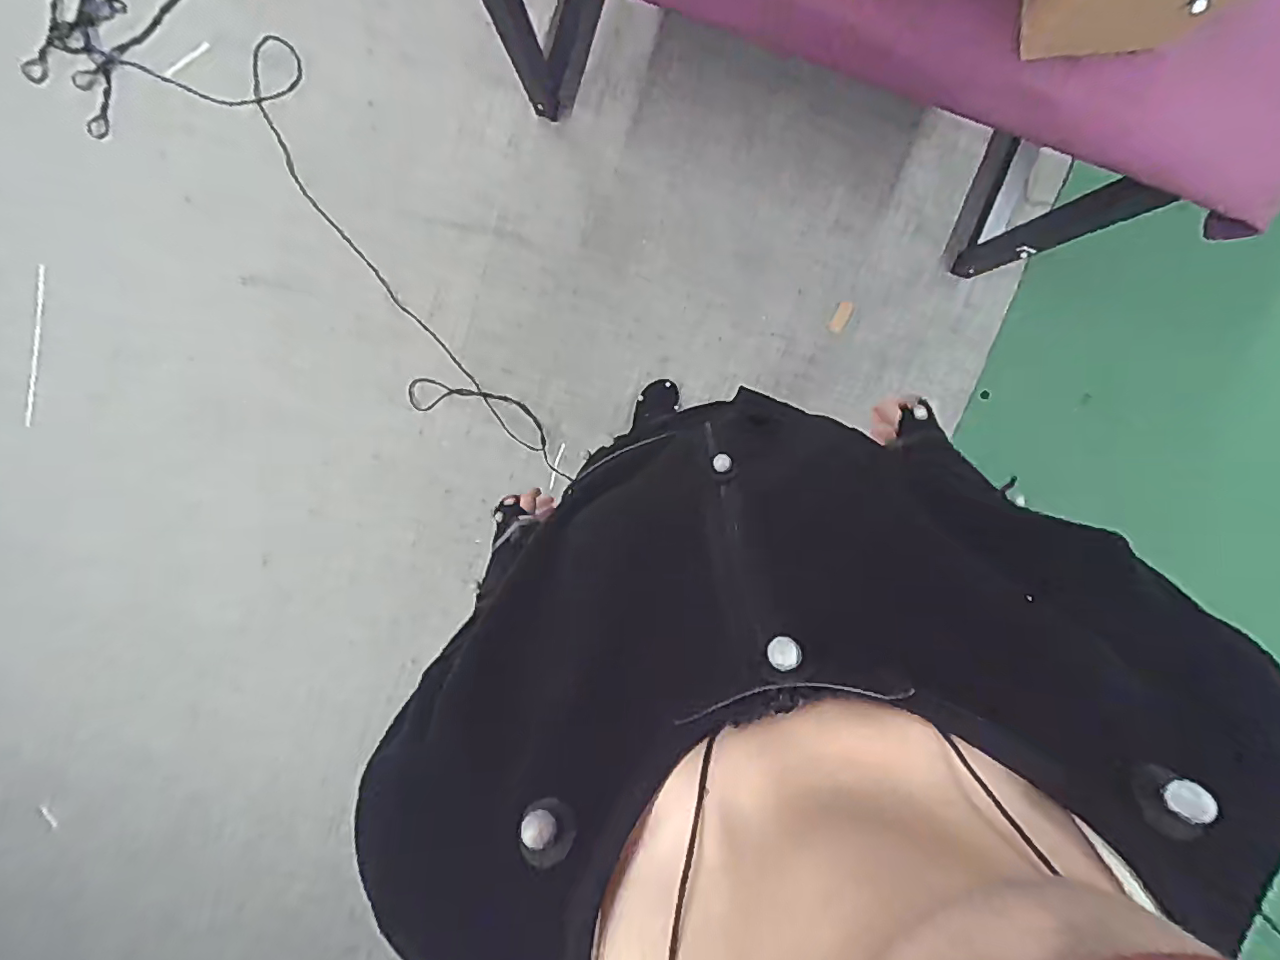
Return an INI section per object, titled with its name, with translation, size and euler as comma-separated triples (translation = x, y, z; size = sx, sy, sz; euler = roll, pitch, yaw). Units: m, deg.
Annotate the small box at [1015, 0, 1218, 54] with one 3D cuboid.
[small box]
translation = 0.542, -0.594, 0.570
size = 0.179, 0.176, 0.168
euler = -3, 97, 3
